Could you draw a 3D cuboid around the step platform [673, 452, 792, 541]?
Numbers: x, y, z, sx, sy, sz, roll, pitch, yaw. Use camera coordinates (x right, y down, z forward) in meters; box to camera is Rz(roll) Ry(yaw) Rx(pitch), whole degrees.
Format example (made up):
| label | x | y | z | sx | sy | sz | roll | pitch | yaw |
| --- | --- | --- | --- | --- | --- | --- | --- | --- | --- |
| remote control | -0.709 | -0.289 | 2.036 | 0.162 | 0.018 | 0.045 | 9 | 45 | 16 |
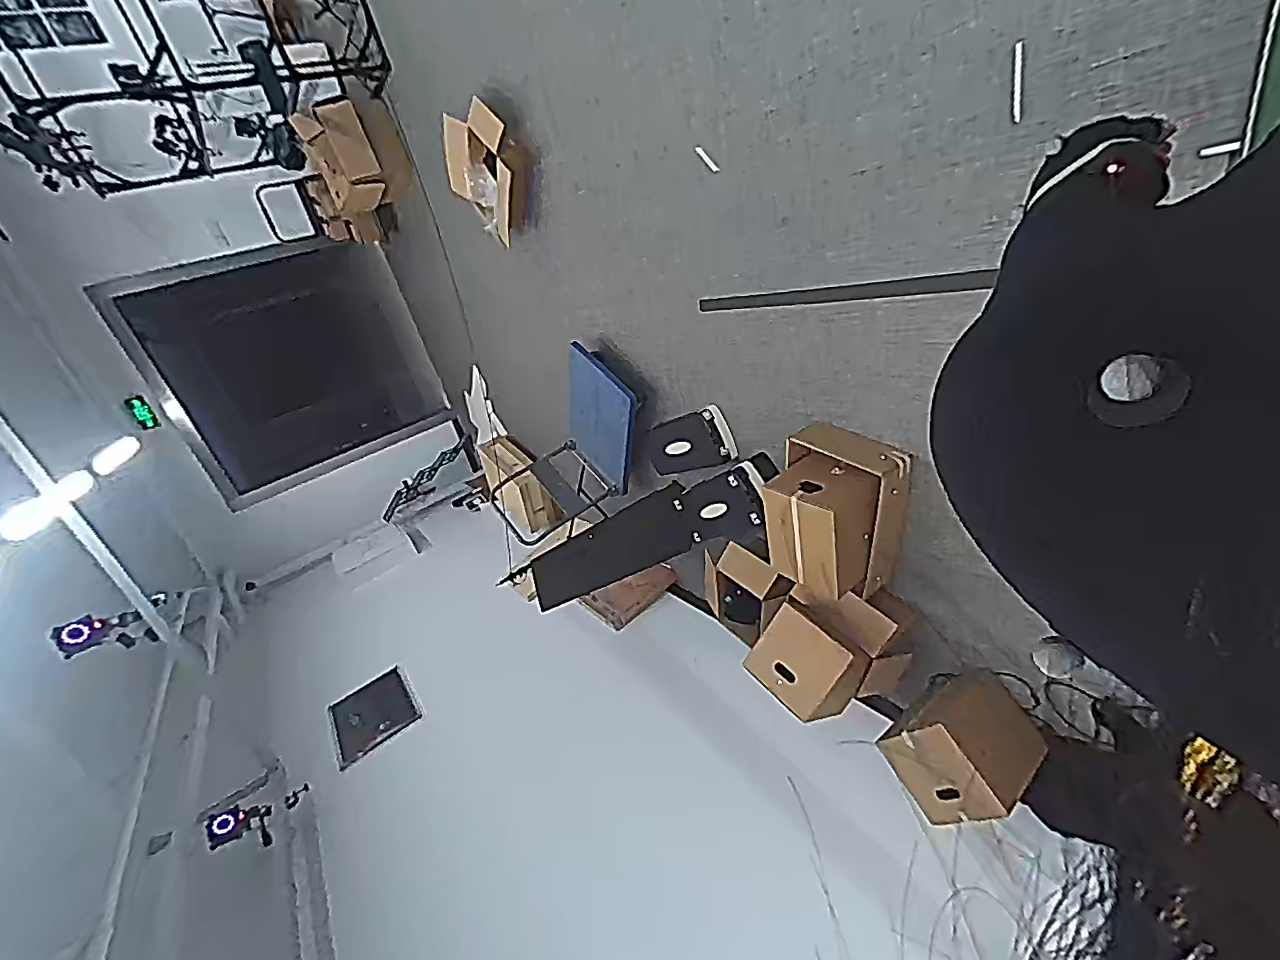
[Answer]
| label | x | y | z | sx | sy | sz | roll | pitch | yaw |
| --- | --- | --- | --- | --- | --- | --- | --- | --- | --- |
| step platform | 0.425 | 0.101 | 2.669 | 0.286 | 0.204 | 0.684 | 59 | 152 | 1 |
